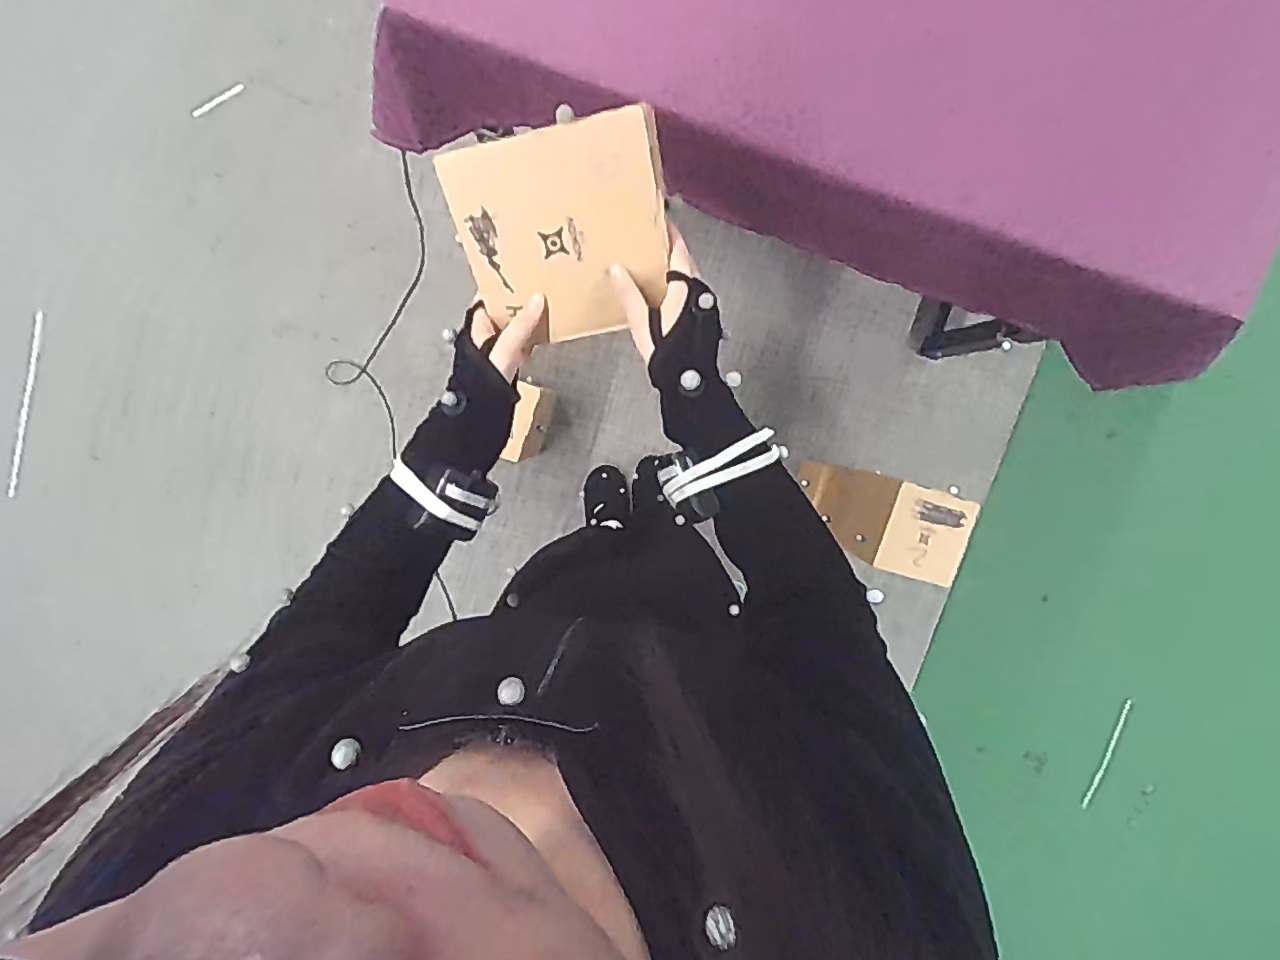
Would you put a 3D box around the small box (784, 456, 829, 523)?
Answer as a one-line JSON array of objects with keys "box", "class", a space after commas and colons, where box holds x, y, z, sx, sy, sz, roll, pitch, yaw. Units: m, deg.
[{"box": [0.505, 0.038, 1.433, 0.179, 0.176, 0.168, 15, 97, -5], "class": "small box"}]

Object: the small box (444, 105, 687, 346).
[{"box": [-0.056, -0.251, 0.525, 0.179, 0.176, 0.168, -8, 123, 8], "class": "small box"}]

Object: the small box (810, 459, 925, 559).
[{"box": [0.522, 0.061, 1.273, 0.168, 0.176, 0.179, 17, 96, -7], "class": "small box"}]
